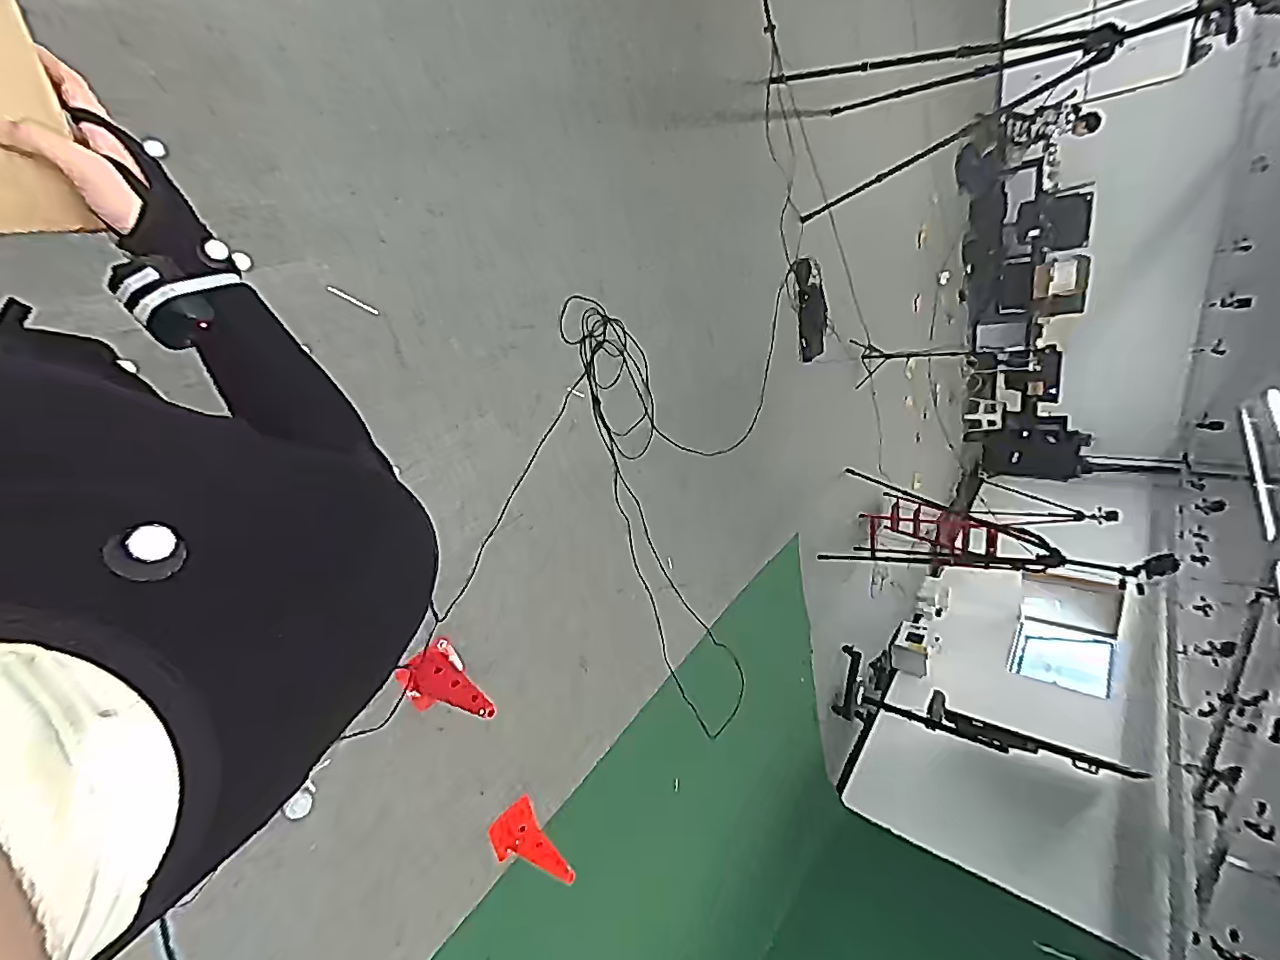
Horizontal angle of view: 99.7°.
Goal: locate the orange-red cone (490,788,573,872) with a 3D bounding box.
[{"bbox_3d":[-0.396,1.425,2.132,0.199,0.360,0.198,-29,119,-45],"label":"orange-red cone"}]
